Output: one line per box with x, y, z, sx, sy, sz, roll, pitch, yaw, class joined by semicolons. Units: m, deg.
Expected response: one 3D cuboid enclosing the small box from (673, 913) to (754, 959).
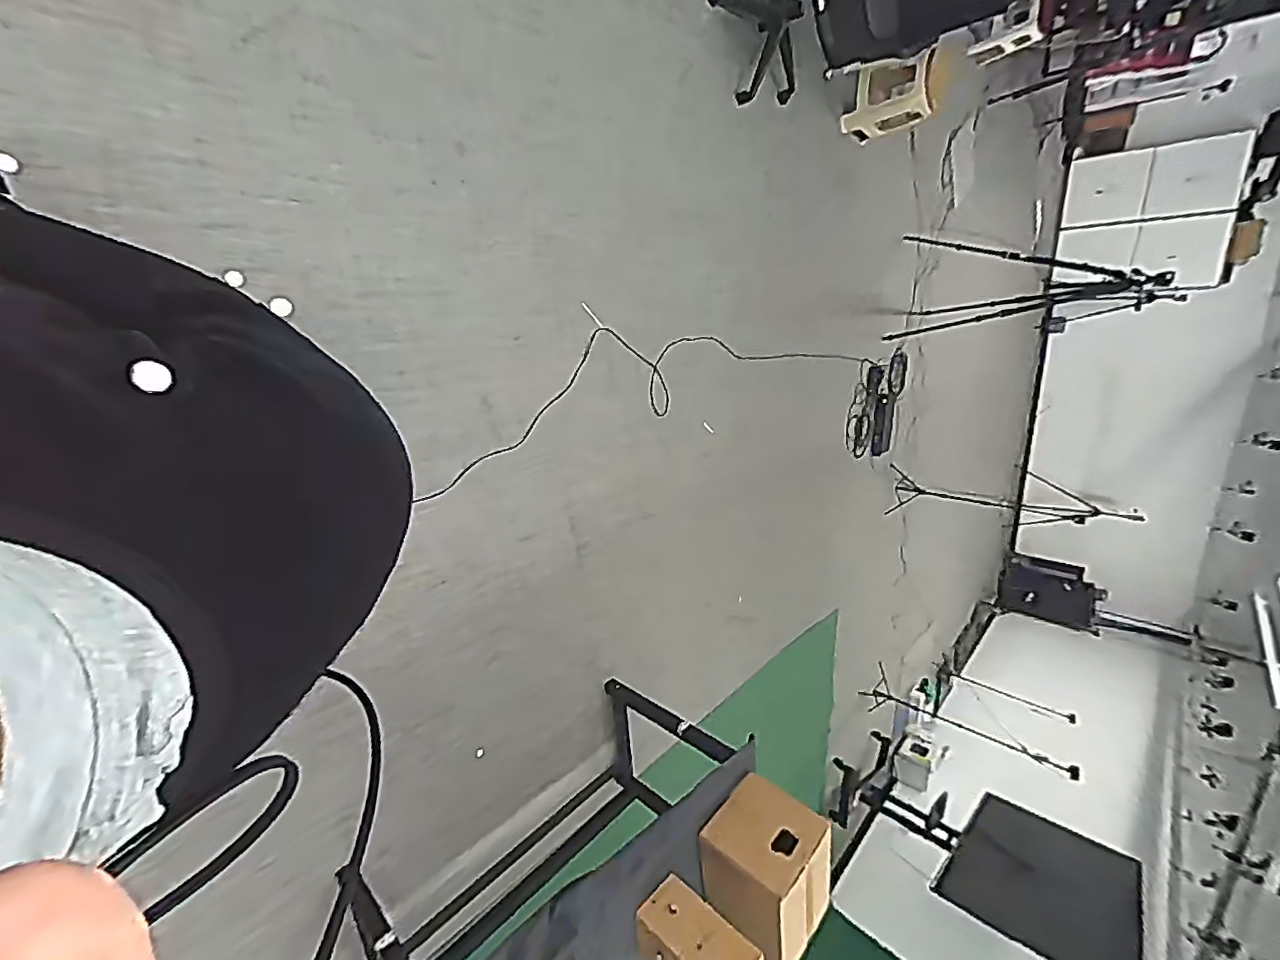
0.202;1.376;1.518;0.168;0.176;0.179;-20;116;-42;small box
